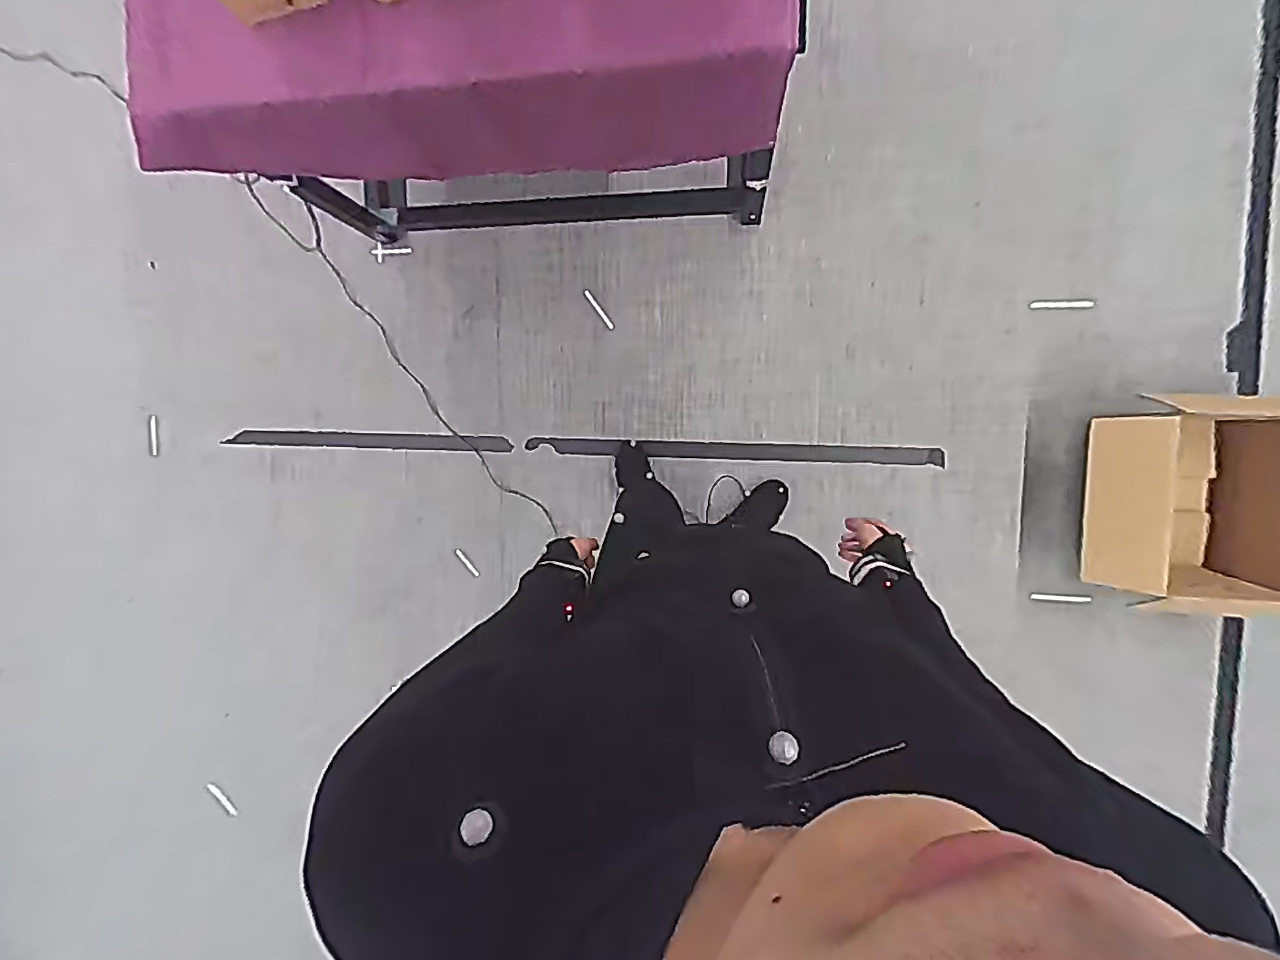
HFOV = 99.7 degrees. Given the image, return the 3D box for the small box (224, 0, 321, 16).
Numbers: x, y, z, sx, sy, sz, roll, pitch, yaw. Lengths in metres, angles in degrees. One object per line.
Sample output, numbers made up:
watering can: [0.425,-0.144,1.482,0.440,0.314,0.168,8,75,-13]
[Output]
small box: [-0.634,-0.885,0.852,0.168,0.176,0.179,-8,93,8]
